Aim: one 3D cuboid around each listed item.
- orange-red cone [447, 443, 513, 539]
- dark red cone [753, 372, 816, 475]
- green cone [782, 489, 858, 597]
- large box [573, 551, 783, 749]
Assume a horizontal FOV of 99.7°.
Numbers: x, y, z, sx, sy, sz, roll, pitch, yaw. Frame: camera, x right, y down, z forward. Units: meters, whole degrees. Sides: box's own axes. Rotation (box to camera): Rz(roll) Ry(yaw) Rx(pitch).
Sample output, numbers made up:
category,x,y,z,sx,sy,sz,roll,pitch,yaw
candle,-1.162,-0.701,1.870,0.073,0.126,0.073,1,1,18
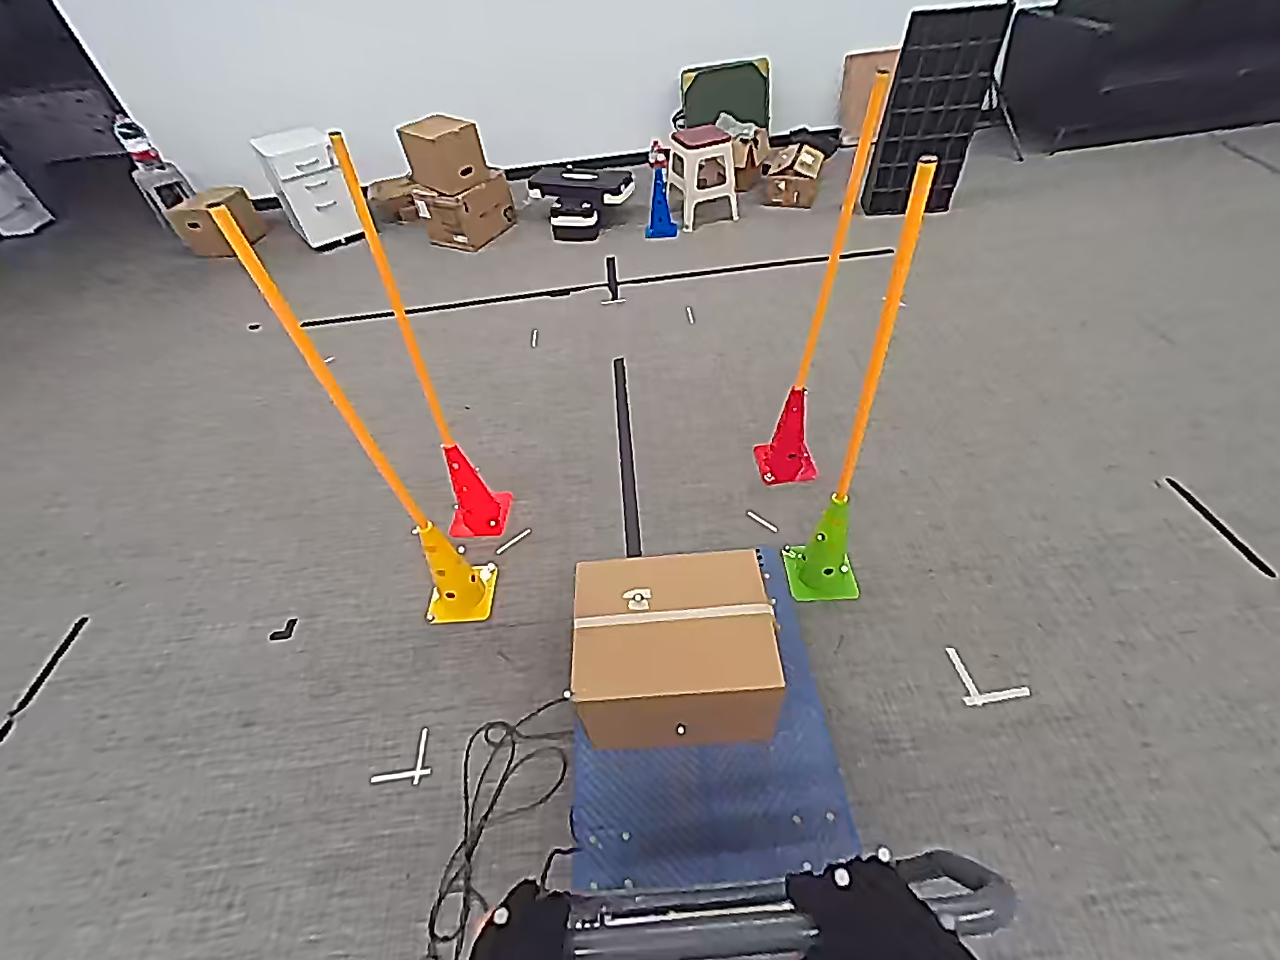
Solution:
category,x,y,z,sx,sy,sz,roll,pitch,yaw
orange-red cone,-0.588,0.015,1.849,0.198,0.360,0.199,-1,46,5
dark red cone,0.525,-0.204,1.889,0.201,0.394,0.202,-6,47,-1
green cone,0.549,0.163,1.572,0.202,0.368,0.200,-4,47,2
large box,0.079,0.390,1.223,0.408,0.320,0.320,-6,47,3
